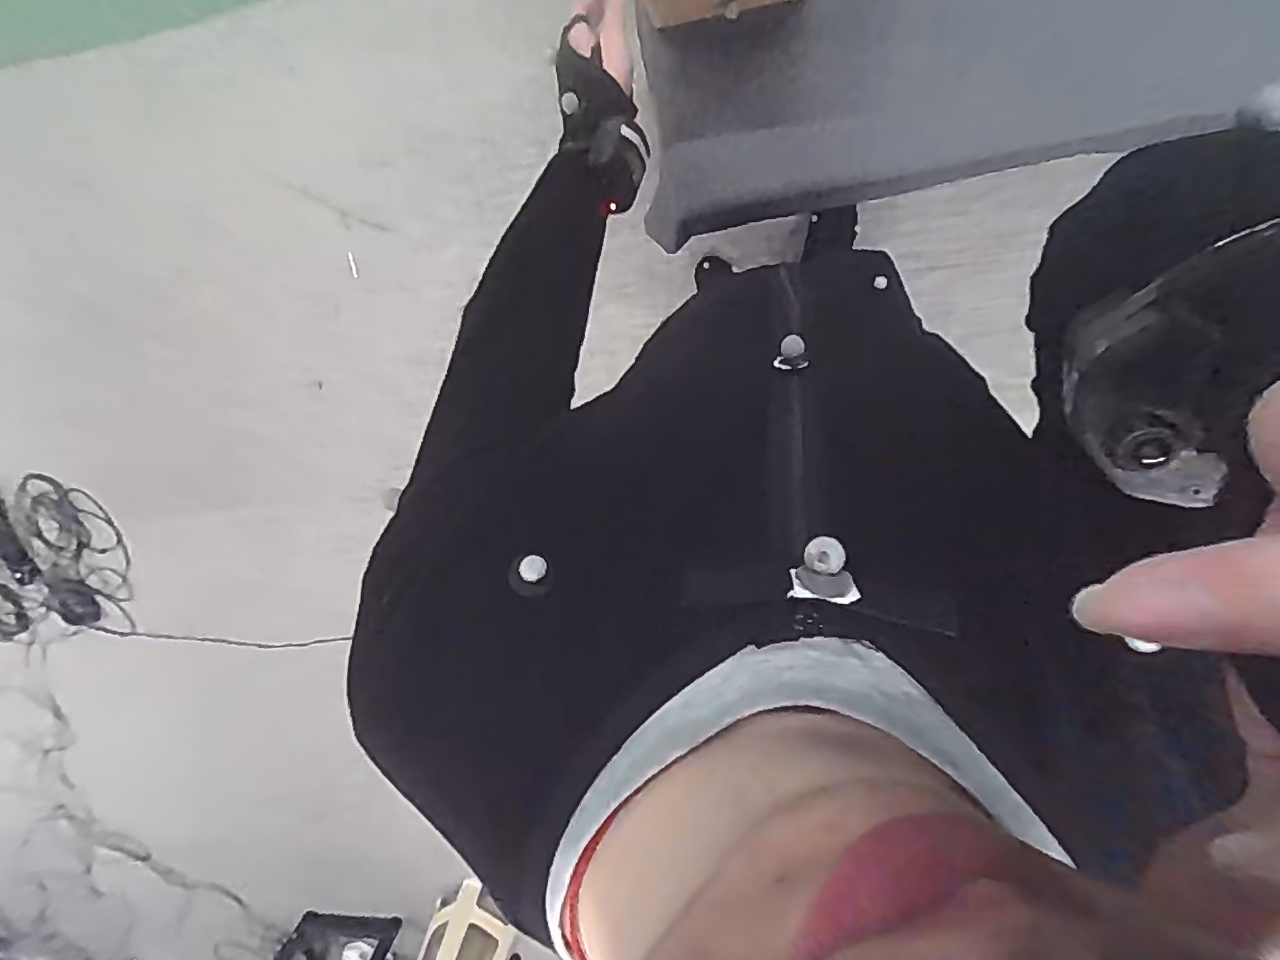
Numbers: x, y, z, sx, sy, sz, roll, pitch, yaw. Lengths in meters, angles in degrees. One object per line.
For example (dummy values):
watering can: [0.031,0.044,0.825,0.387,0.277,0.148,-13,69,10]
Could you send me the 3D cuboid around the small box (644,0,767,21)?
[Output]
small box: [0.077,-0.575,0.508,0.179,0.176,0.168,-4,112,10]
